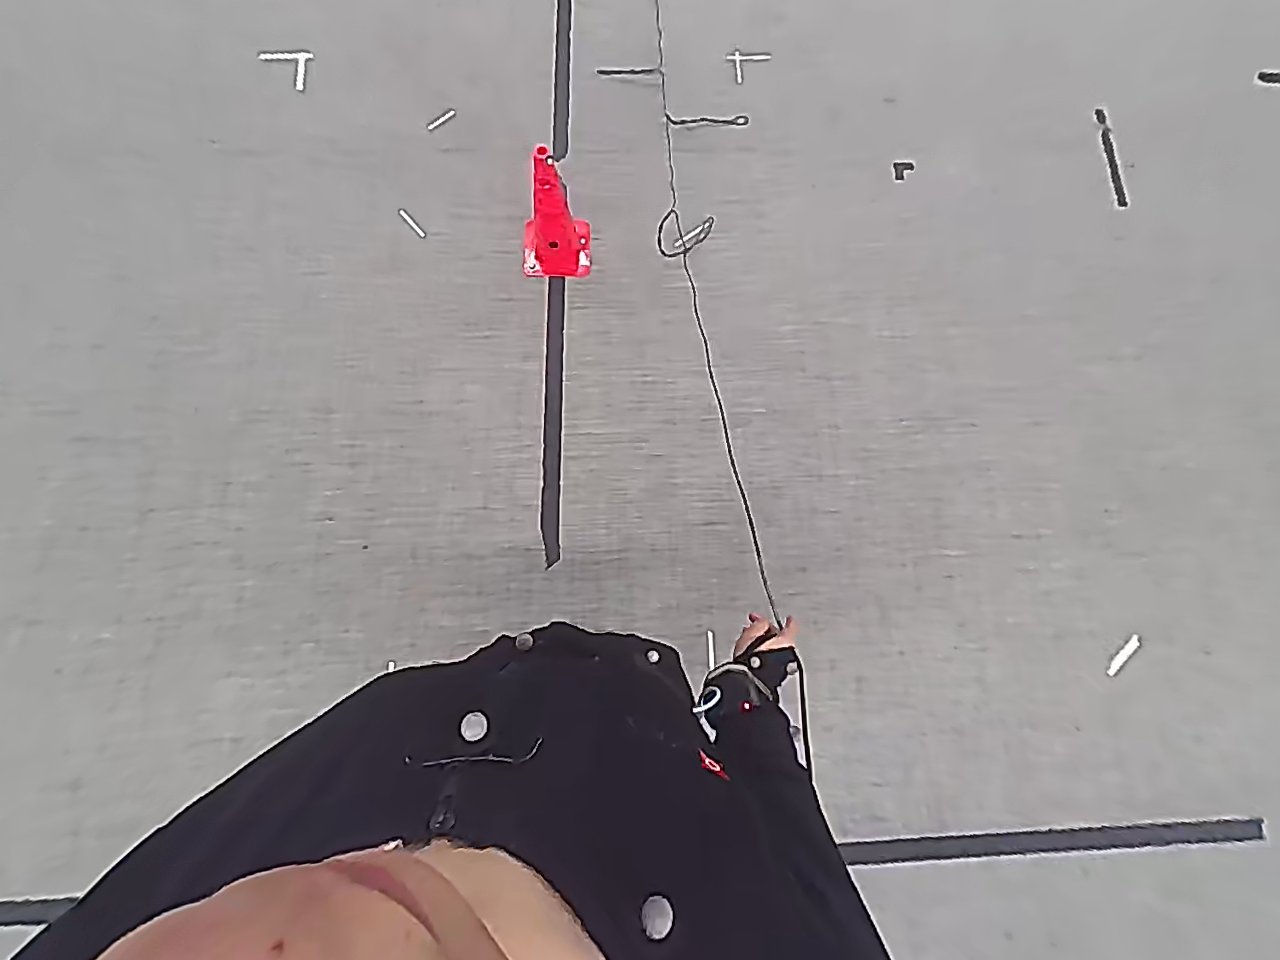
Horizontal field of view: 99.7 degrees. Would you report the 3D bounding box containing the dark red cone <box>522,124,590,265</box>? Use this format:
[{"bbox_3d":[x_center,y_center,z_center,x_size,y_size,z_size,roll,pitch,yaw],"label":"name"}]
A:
[{"bbox_3d":[-0.241,-0.769,1.455,0.201,0.394,0.202,-1,75,-4],"label":"dark red cone"}]
